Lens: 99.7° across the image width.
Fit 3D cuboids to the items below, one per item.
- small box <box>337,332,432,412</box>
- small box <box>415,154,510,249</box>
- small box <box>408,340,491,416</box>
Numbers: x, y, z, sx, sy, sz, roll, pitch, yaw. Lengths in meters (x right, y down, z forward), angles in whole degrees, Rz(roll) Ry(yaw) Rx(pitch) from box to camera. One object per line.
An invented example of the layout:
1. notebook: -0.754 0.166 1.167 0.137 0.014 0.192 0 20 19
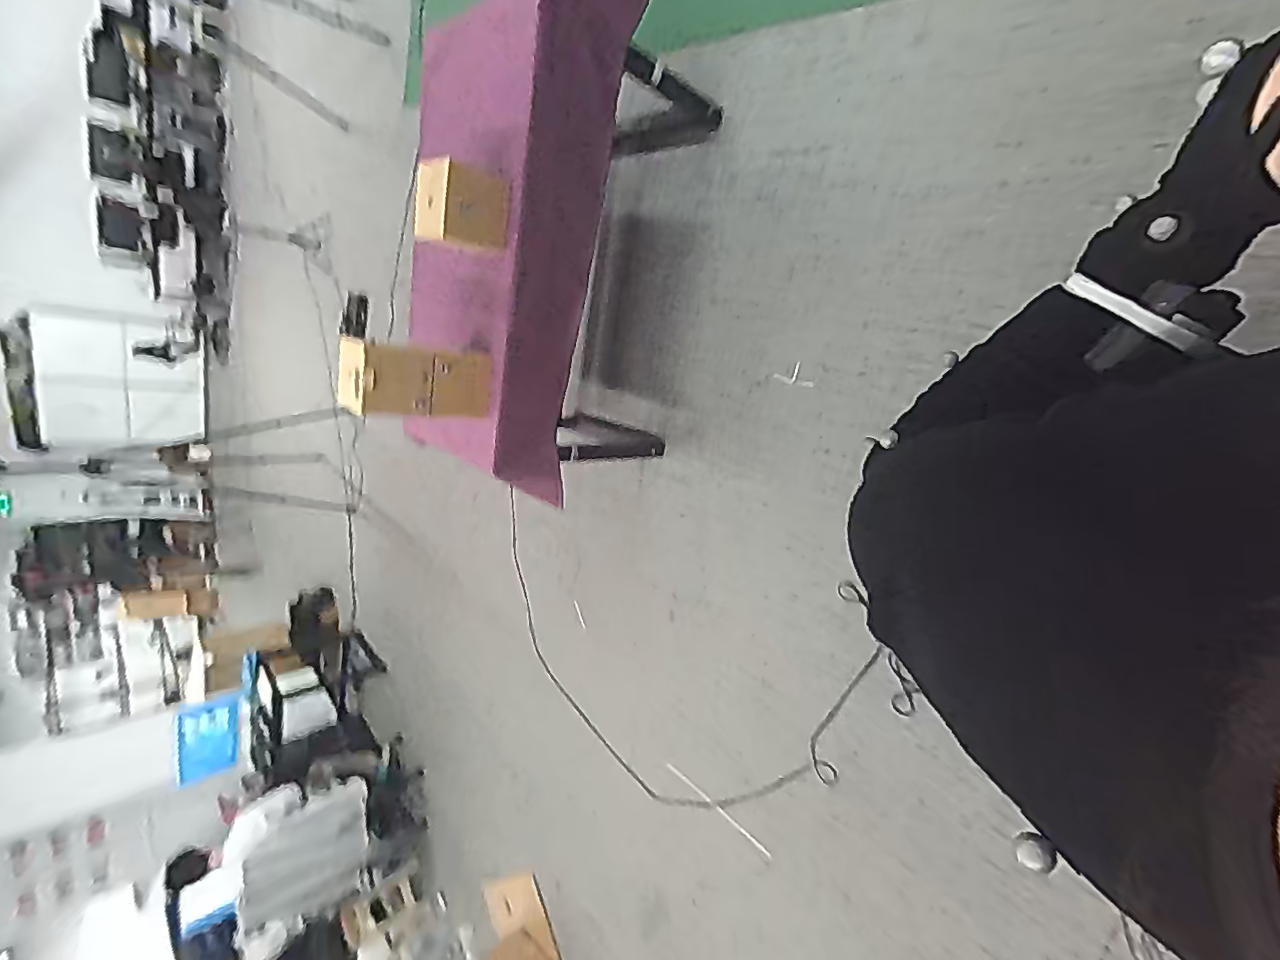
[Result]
1. small box: -0.641 -0.268 1.359 0.179 0.176 0.168 22 108 42
2. small box: -0.448 -0.695 1.366 0.168 0.176 0.179 24 110 39
3. small box: -0.526 -0.275 1.476 0.168 0.176 0.179 22 107 41
